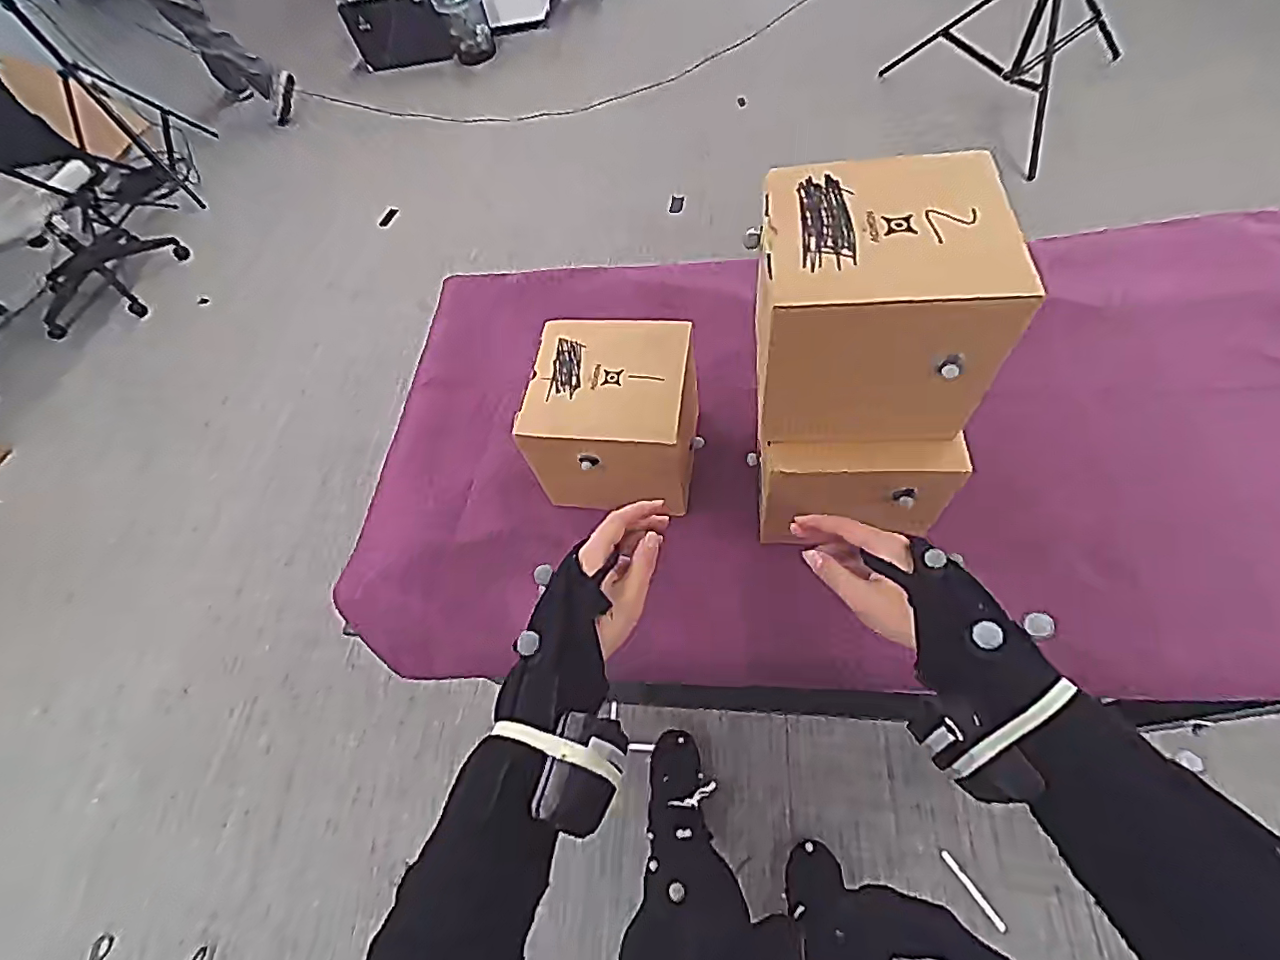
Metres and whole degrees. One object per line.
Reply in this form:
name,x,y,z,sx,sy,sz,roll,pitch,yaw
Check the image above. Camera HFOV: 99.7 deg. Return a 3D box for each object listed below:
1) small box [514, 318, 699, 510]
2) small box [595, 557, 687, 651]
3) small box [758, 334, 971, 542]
small box,-0.026,-0.075,0.655,0.179,0.176,0.168,4,61,10
small box,0.011,0.272,1.174,0.179,0.176,0.168,-1,62,9
small box,0.224,-0.039,0.594,0.179,0.176,0.168,0,59,10
